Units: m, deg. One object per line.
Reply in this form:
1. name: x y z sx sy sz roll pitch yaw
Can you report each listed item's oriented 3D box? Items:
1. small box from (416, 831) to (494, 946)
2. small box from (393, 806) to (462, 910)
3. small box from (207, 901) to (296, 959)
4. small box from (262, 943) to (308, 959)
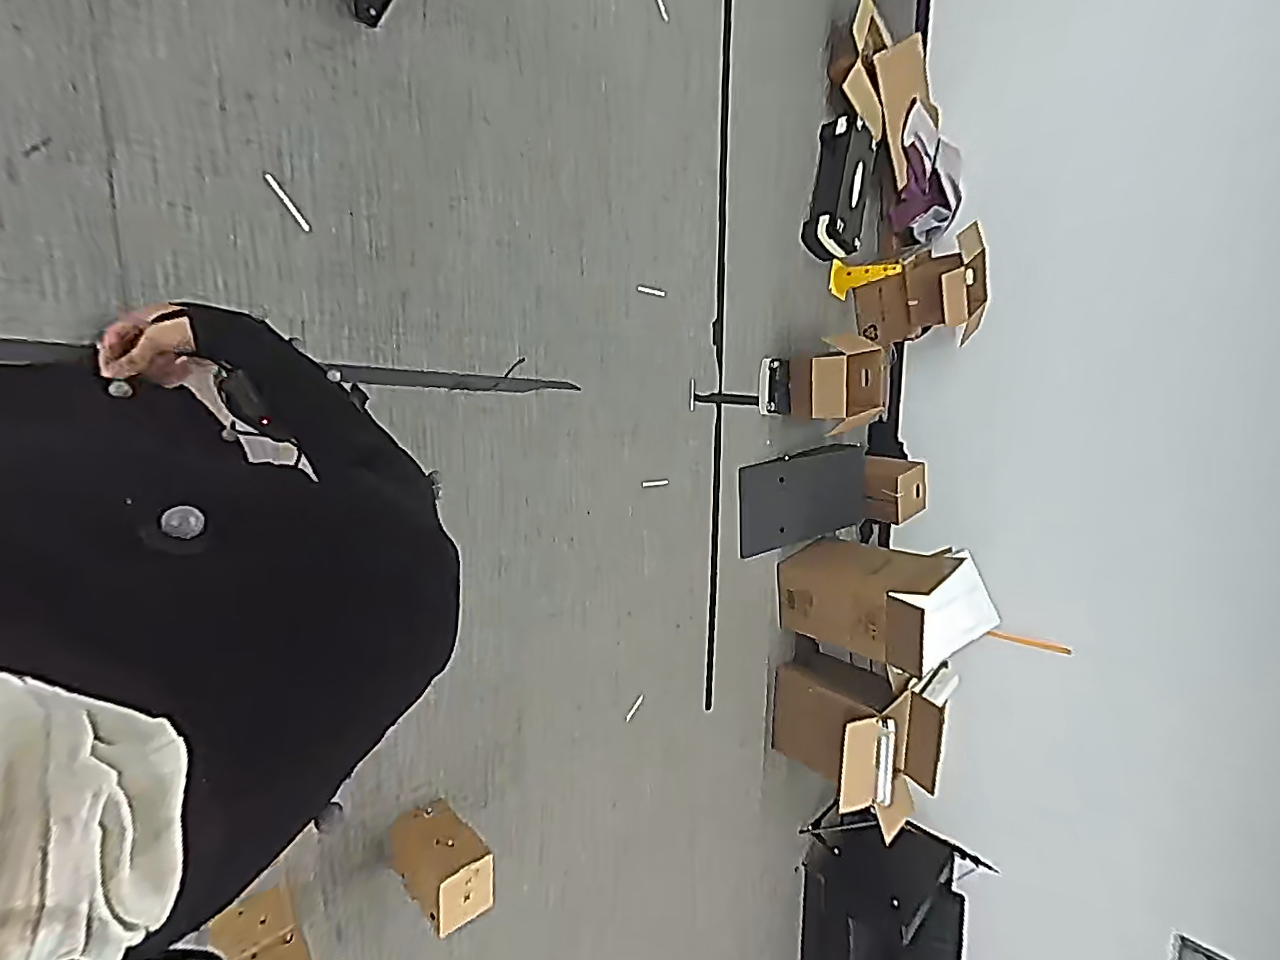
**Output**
1. small box: -0.546 1.190 1.590 0.168 0.176 0.179 -4 98 -45
2. small box: -0.665 1.179 1.703 0.168 0.176 0.179 -4 98 -44
3. small box: -0.996 1.243 1.395 0.168 0.176 0.179 -10 103 -43
4. small box: -0.875 1.264 1.286 0.168 0.176 0.179 -10 104 -43
